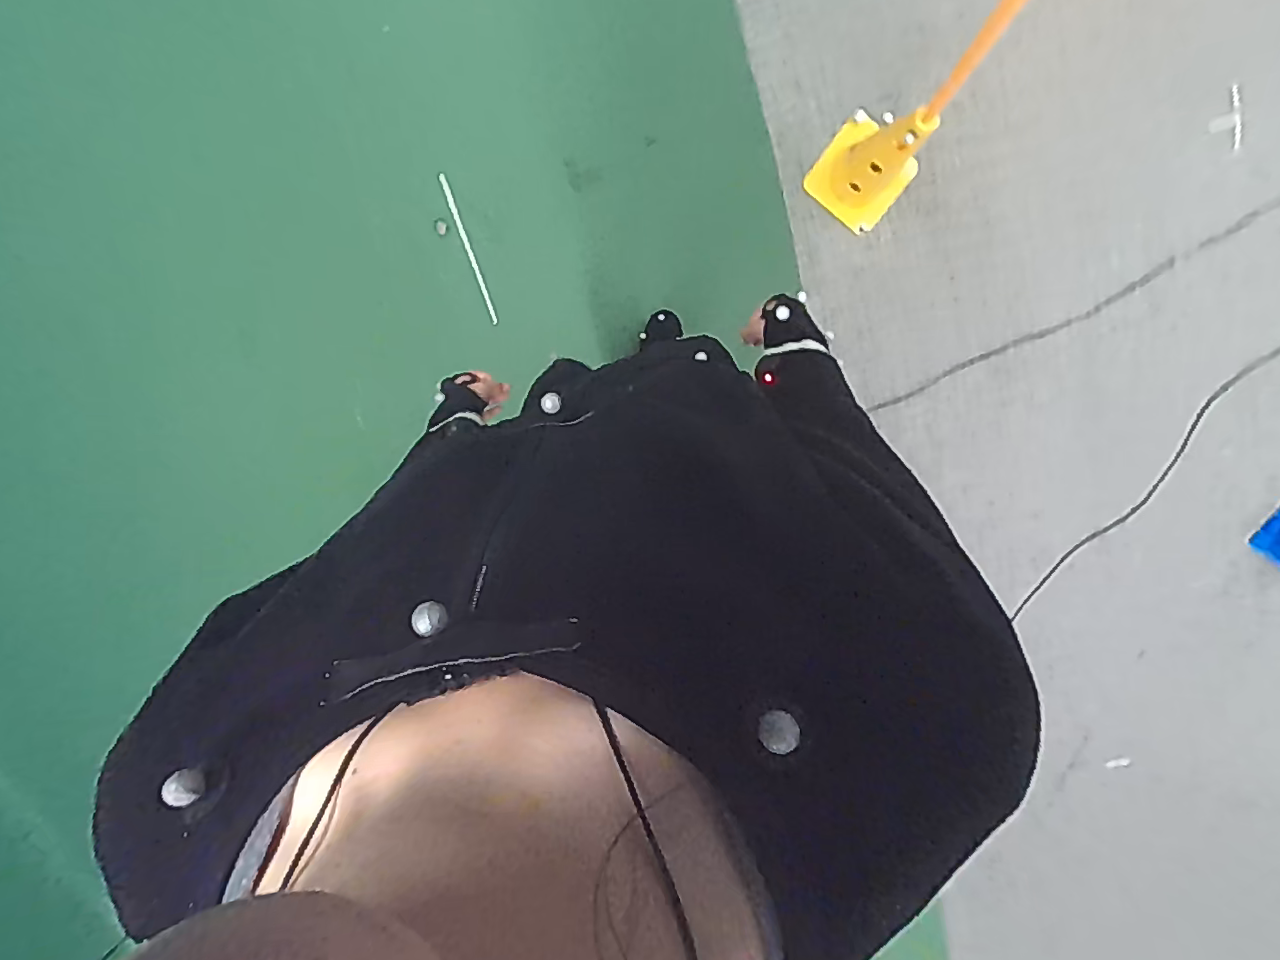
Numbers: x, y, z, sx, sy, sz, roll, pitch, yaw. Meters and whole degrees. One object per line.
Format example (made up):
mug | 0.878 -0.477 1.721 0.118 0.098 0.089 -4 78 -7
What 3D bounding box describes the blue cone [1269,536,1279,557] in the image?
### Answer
blue cone | 1.766 0.194 1.248 0.193 0.380 0.192 28 105 -6
